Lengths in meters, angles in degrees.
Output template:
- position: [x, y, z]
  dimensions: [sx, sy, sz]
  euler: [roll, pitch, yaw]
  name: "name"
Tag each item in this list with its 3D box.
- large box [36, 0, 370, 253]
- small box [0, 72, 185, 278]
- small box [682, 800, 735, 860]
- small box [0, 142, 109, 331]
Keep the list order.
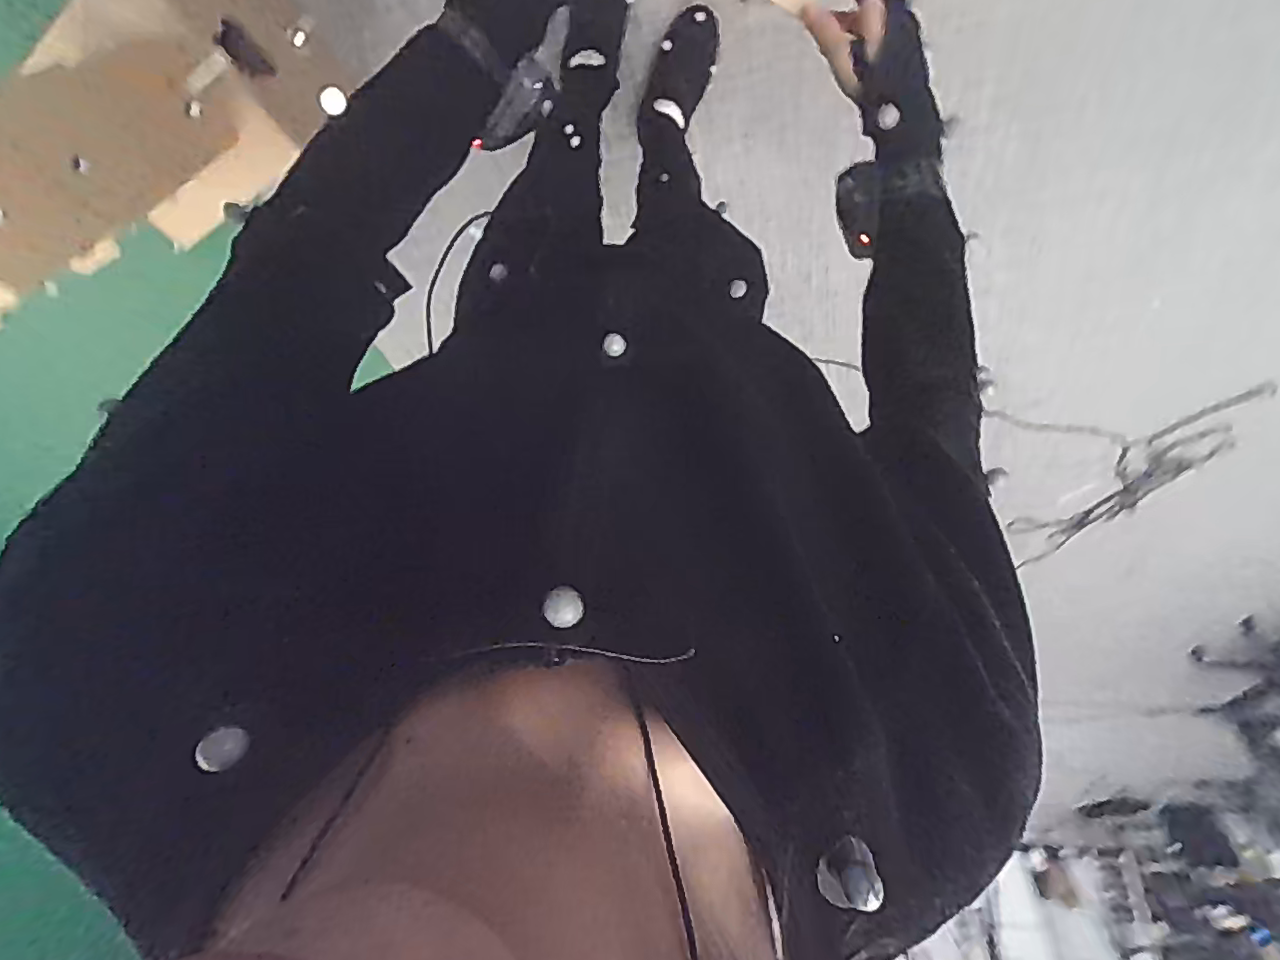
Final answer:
- position: [-0.827, -0.733, 1.053]
  dimensions: [0.408, 0.320, 0.320]
  euler: [-16, 135, 25]
  name: "large box"
- position: [-0.822, -0.432, 0.775]
  dimensions: [0.168, 0.176, 0.179]
  euler: [-13, 138, 20]
  name: "small box"
- position: [0.257, 1.318, 2.038]
  dimensions: [0.179, 0.176, 0.168]
  euler: [-7, 137, 15]
  name: "small box"
- position: [-0.837, -0.306, 0.670]
  dimensions: [0.168, 0.176, 0.179]
  euler: [-14, 139, 21]
  name: "small box"
